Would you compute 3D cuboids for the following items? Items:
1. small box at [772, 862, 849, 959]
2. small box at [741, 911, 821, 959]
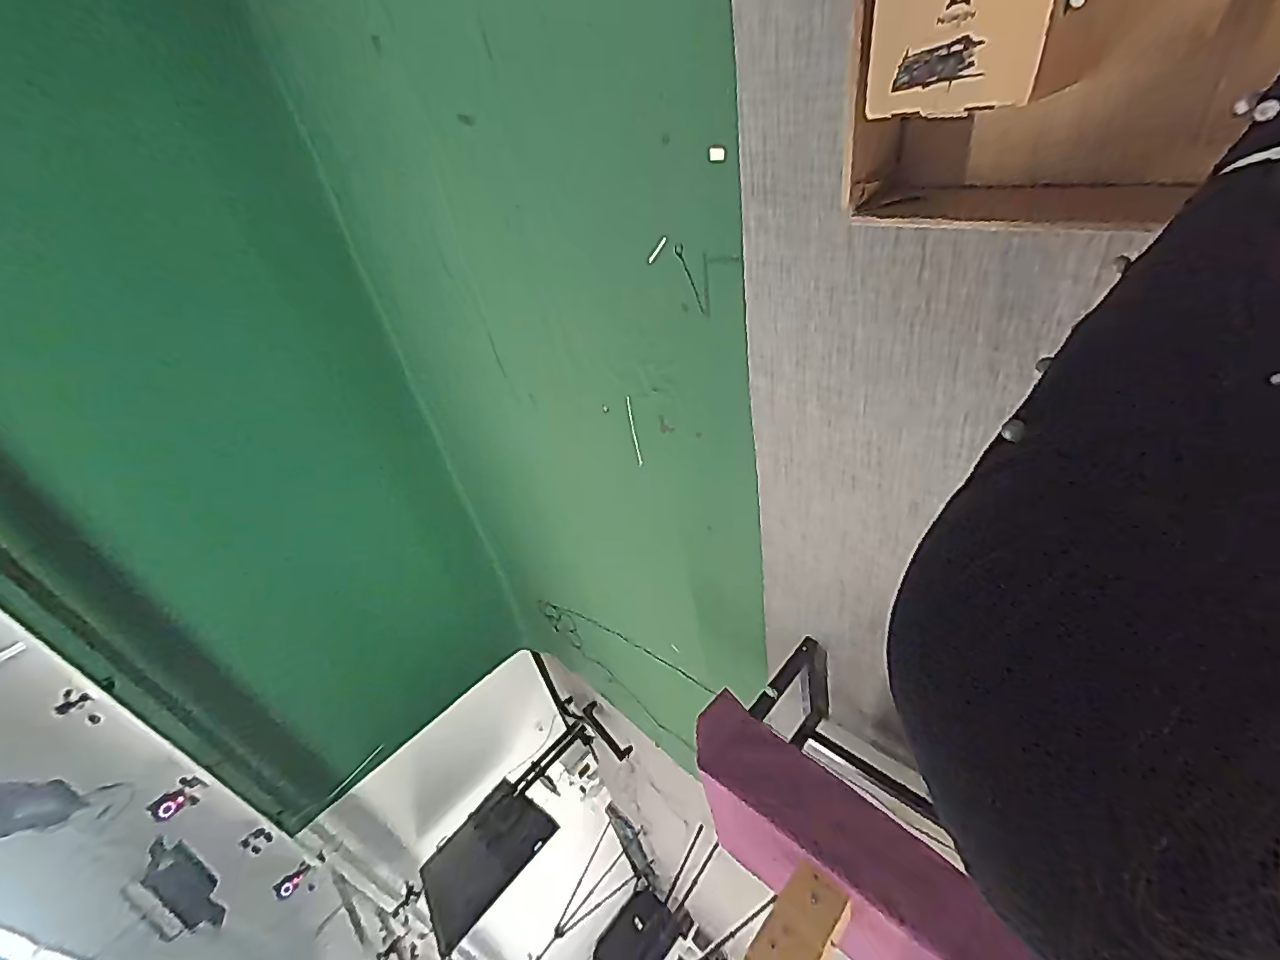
[{"bbox_3d":[0.520,1.318,1.645,0.168,0.176,0.179,23,137,42],"label":"small box"},{"bbox_3d":[0.407,1.404,1.563,0.168,0.176,0.179,24,139,40],"label":"small box"}]
